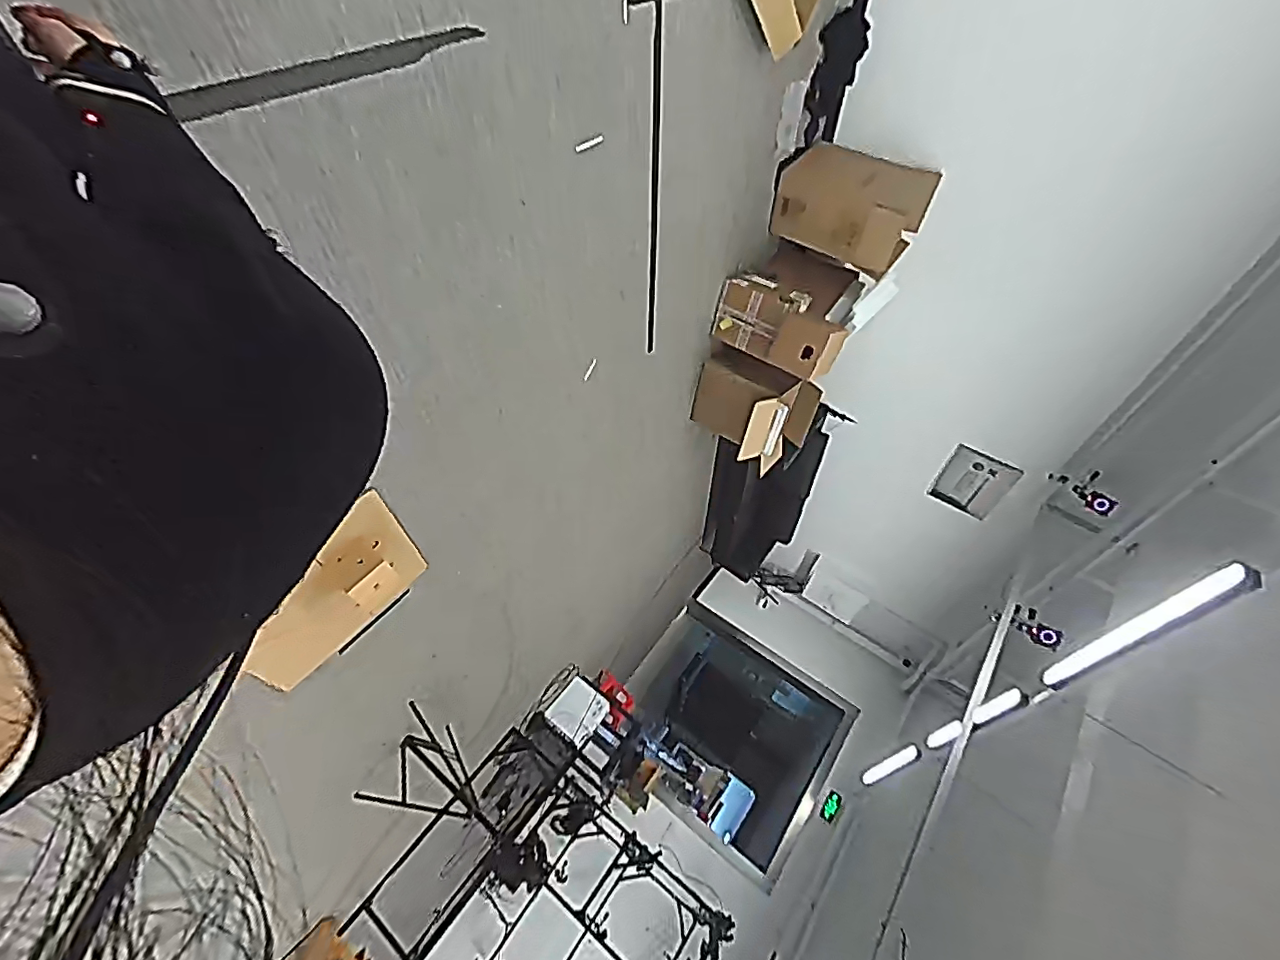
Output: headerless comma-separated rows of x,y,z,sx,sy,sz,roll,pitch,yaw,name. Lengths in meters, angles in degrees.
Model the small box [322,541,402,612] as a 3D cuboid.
-1.034,0.352,2.011,0.168,0.176,0.179,-47,155,-26,small box
